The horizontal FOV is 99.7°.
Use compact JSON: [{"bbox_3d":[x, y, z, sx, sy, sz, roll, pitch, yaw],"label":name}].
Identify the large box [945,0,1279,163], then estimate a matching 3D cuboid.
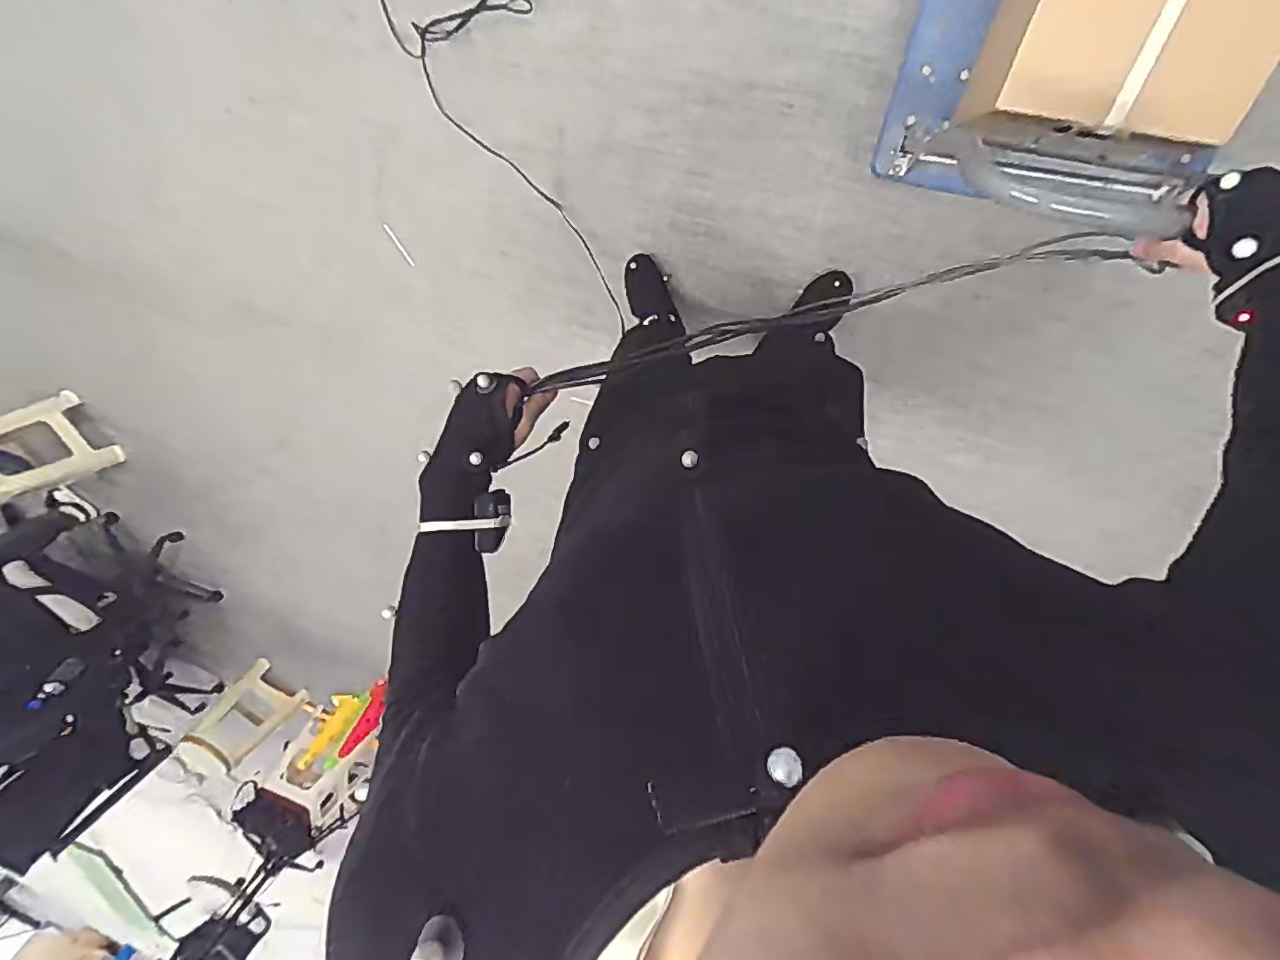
[{"bbox_3d":[0.737,-0.748,0.833,0.320,0.320,0.408,16,120,8],"label":"large box"}]
